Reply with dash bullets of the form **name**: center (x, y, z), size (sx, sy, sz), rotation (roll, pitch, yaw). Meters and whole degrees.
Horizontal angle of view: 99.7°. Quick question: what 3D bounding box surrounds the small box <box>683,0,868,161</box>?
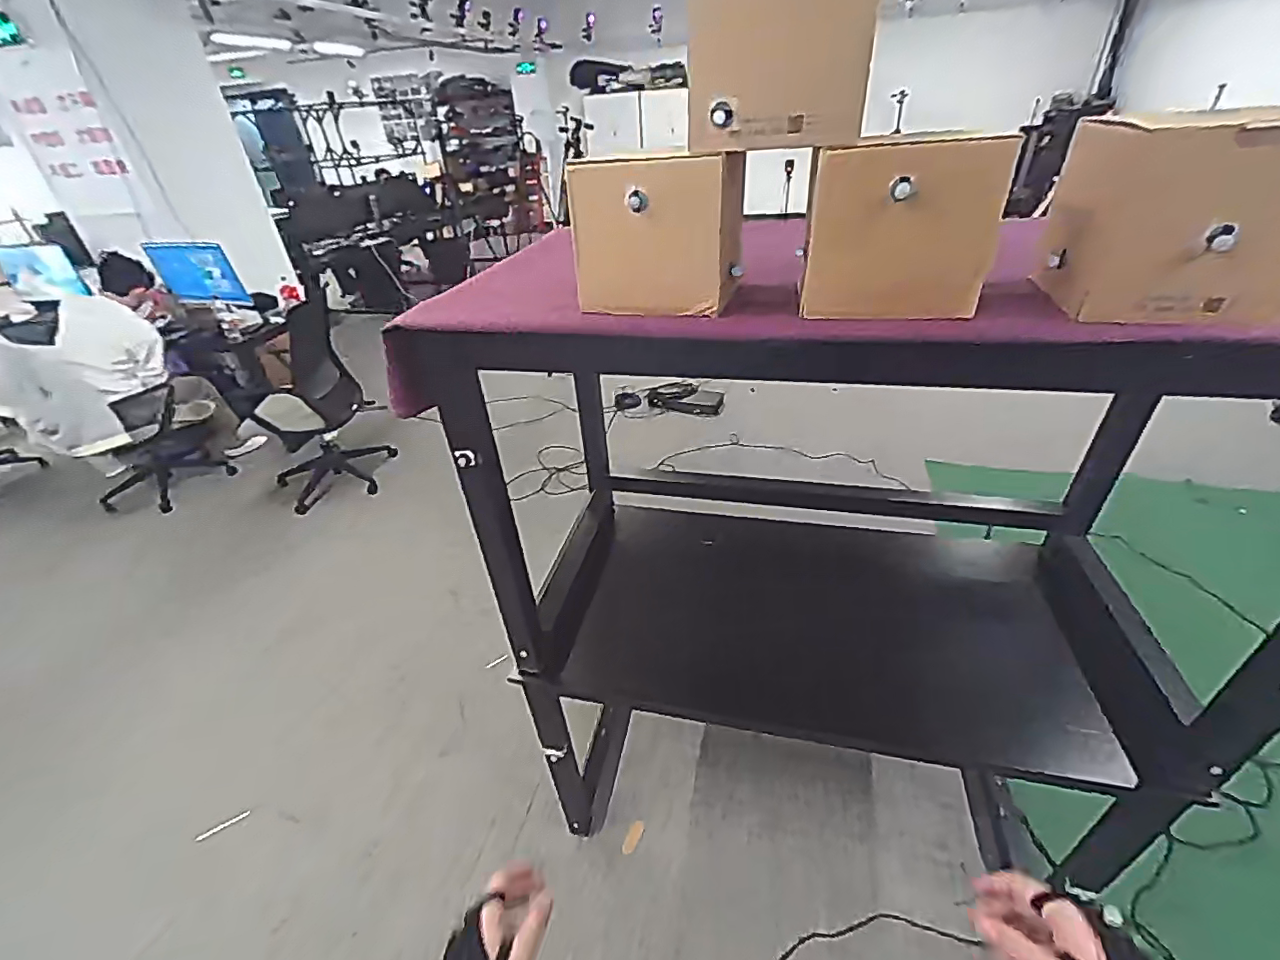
- **small box**: center (0.143, -0.436, 0.570), size (0.168, 0.176, 0.179), rotation (5, 33, 14)

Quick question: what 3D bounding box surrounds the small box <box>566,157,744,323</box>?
- **small box**: center (0.028, -0.302, 0.679), size (0.179, 0.176, 0.168), rotation (8, 35, 17)

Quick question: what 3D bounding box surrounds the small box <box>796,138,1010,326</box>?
- **small box**: center (0.277, -0.281, 0.617), size (0.179, 0.176, 0.168), rotation (3, 33, 13)
